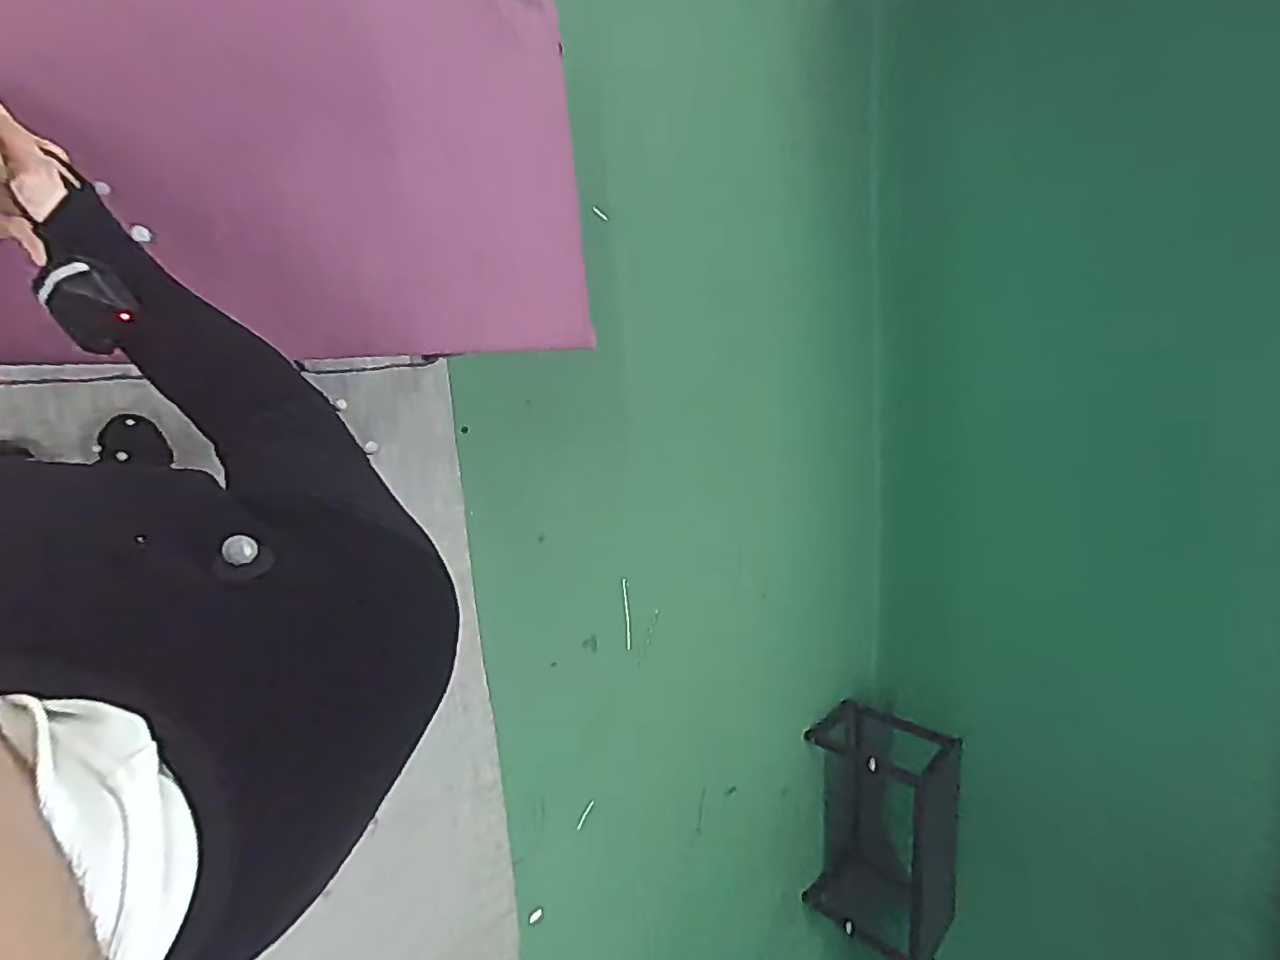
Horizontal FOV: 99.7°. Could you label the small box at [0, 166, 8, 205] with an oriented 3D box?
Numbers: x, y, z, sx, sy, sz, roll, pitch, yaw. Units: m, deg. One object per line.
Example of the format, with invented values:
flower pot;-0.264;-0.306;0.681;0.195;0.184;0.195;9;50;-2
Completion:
small box;-0.580;-0.300;0.362;0.168;0.176;0.179;-20;108;-43
